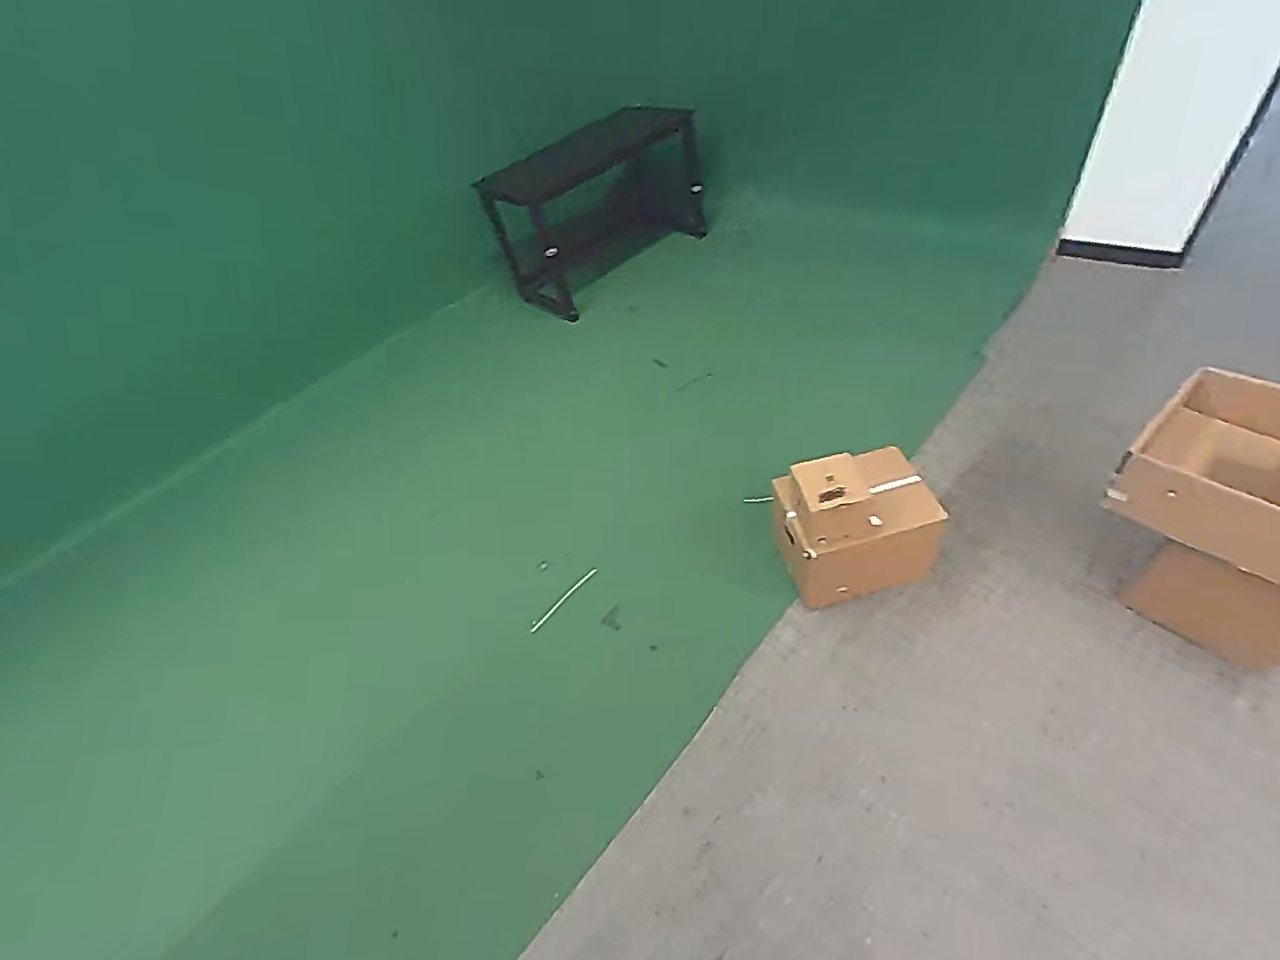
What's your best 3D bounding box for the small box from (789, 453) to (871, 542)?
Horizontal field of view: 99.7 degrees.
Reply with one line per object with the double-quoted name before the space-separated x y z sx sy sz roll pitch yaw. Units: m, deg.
"small box" 0.524 0.056 1.507 0.168 0.176 0.179 -13 46 3
